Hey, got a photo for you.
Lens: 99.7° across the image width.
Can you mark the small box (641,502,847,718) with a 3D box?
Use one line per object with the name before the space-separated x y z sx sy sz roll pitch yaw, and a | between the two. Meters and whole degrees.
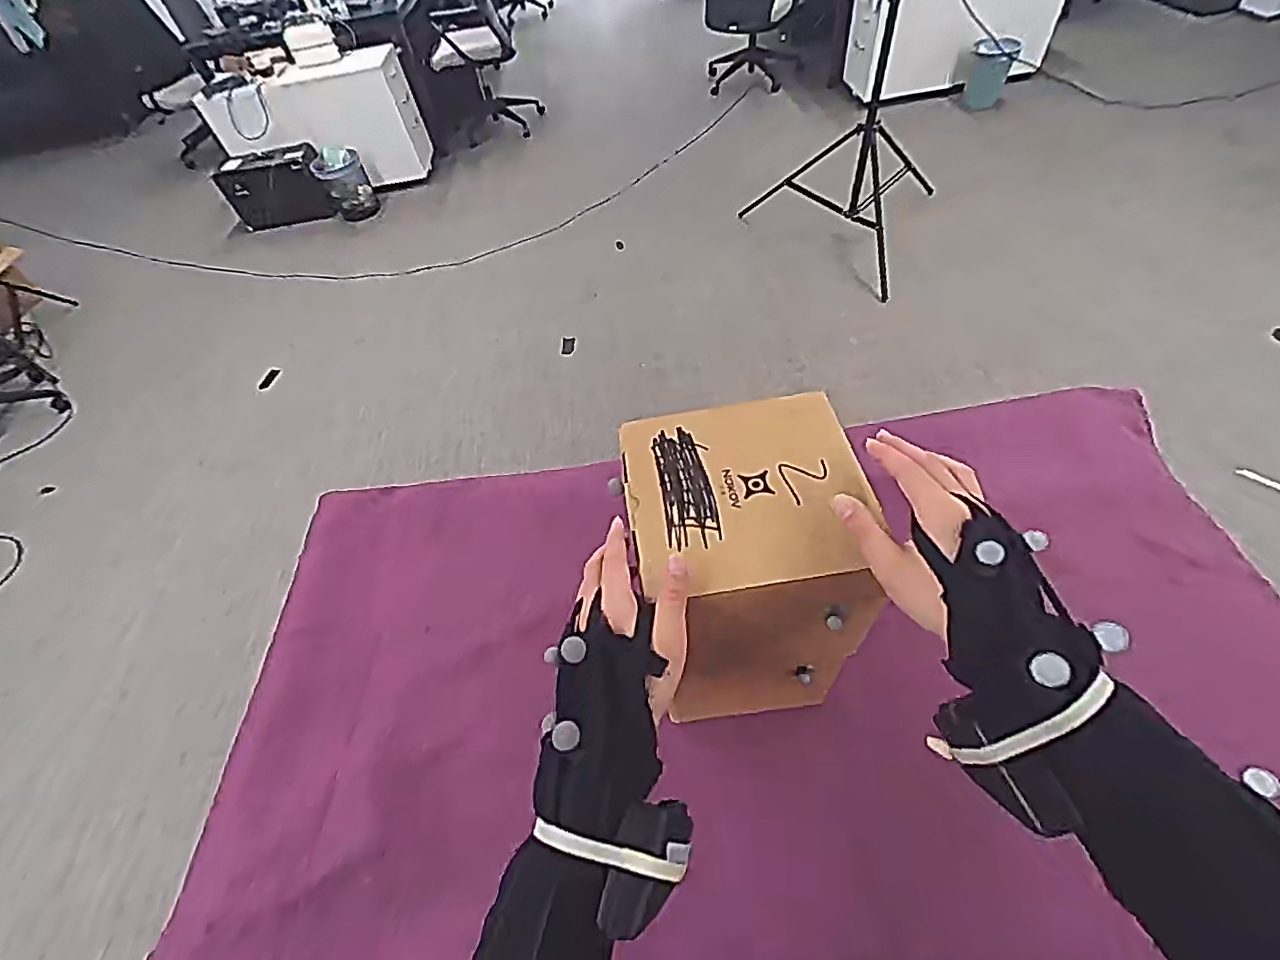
small box | 0.103 0.148 0.593 0.179 0.176 0.168 -8 52 2
